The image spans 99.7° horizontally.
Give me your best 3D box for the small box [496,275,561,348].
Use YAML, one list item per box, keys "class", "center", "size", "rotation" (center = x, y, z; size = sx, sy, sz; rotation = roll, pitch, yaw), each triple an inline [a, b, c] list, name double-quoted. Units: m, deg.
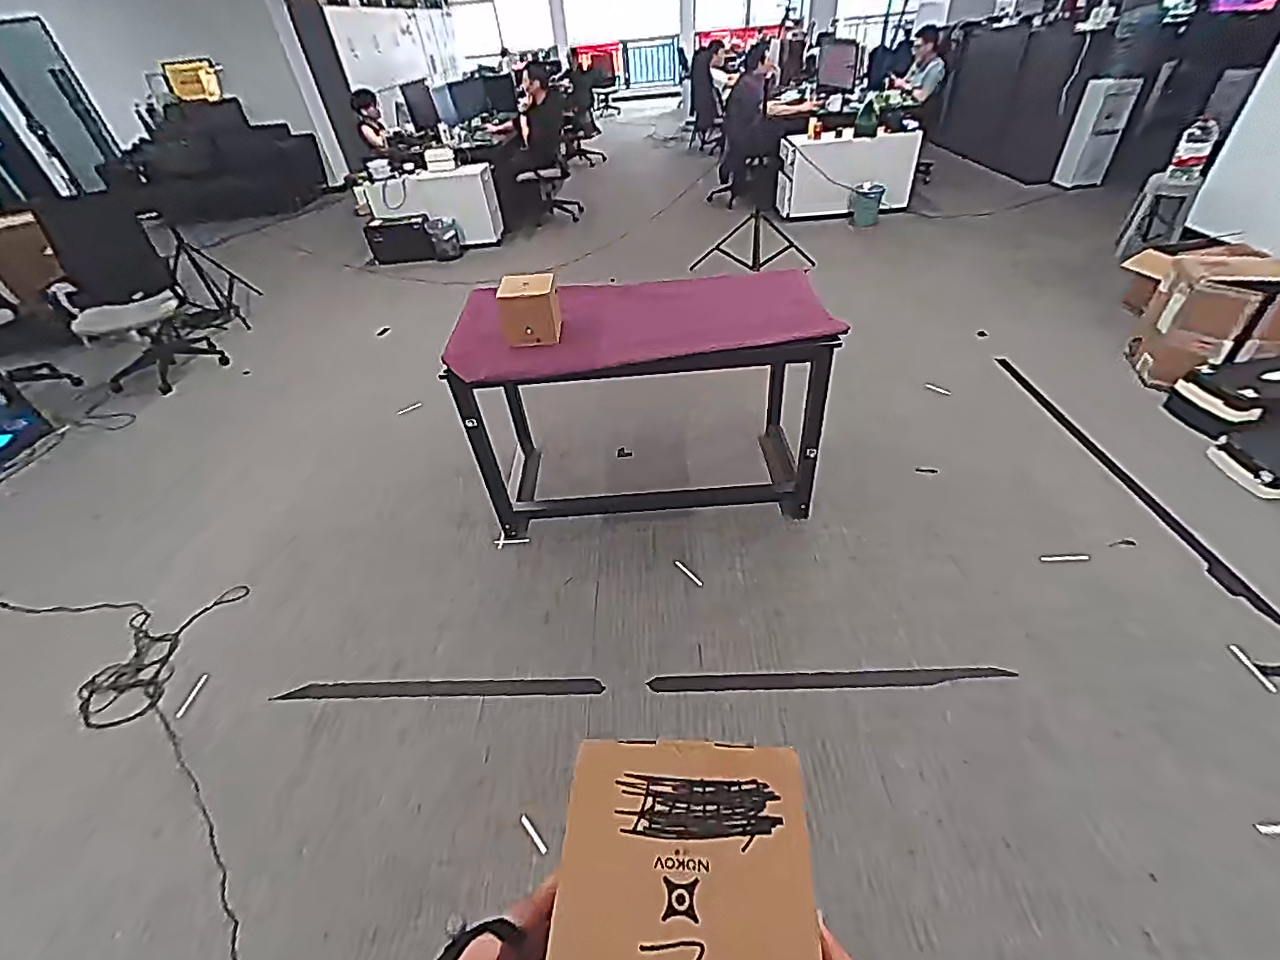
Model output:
- class: "small box"
  center: [-0.350, -0.539, 1.731]
  size: [0.168, 0.176, 0.179]
  rotation: [-5, 41, 0]
